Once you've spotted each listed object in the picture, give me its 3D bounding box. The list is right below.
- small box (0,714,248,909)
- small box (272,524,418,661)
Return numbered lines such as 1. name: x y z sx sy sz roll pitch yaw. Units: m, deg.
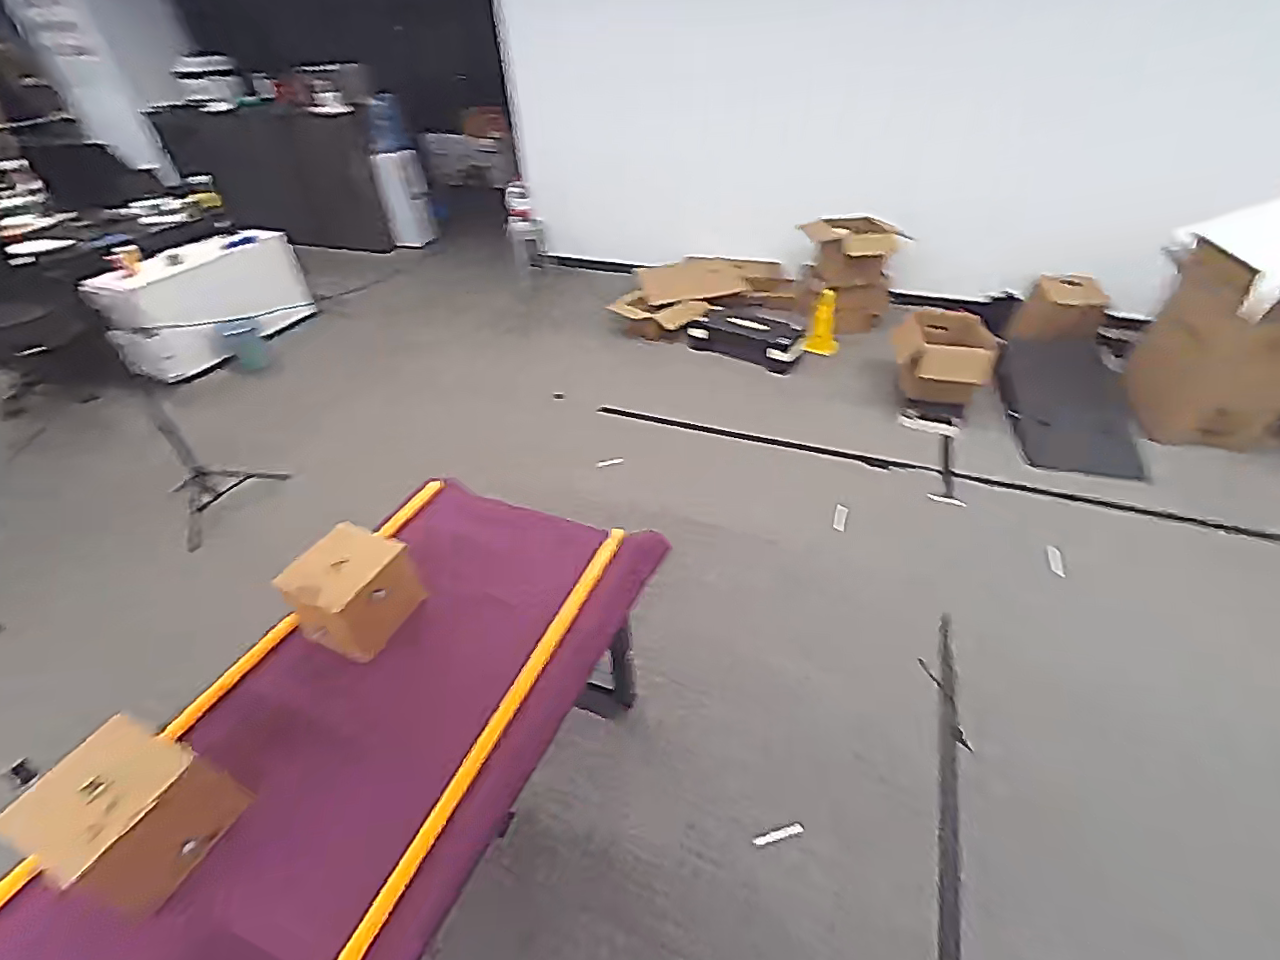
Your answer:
1. small box: -0.734 0.482 0.786 0.179 0.176 0.168 15 44 17
2. small box: -0.571 0.223 1.079 0.168 0.176 0.179 15 45 18
